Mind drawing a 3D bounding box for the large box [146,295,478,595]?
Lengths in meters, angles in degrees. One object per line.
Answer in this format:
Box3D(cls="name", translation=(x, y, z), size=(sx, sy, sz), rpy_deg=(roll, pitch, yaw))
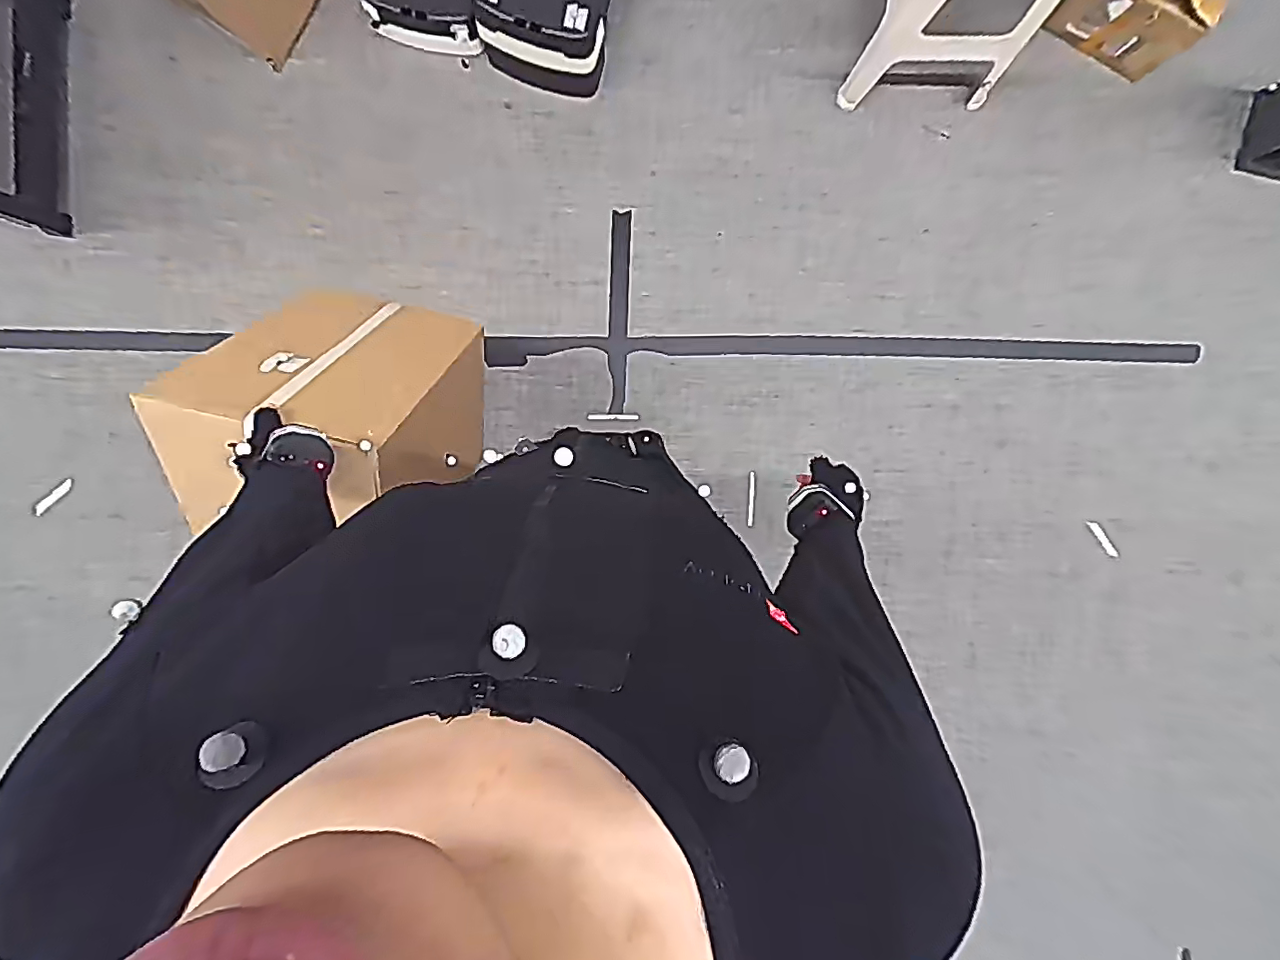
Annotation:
Box3D(cls="large box", translation=(-0.496, -0.074, 0.943), size=(0.320, 0.408, 0.320), rpy_deg=(12, 129, -1))
